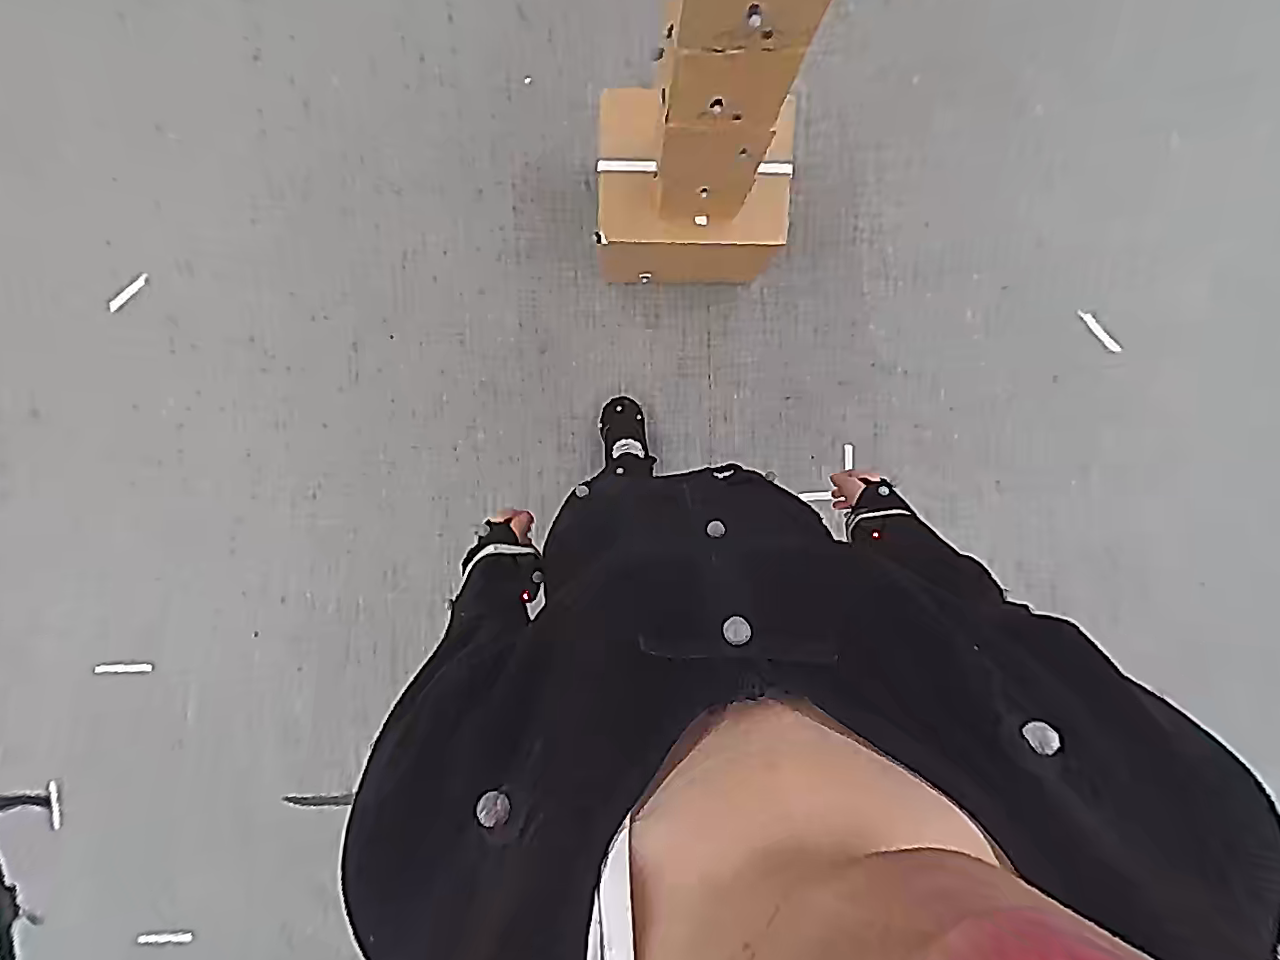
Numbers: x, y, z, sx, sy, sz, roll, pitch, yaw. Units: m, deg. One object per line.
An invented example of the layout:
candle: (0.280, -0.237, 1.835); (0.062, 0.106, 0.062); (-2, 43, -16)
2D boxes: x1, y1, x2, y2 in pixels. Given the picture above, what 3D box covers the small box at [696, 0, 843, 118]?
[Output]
small box: (0.167, -0.629, 0.727); (0.168, 0.176, 0.179); (2, 96, 0)
